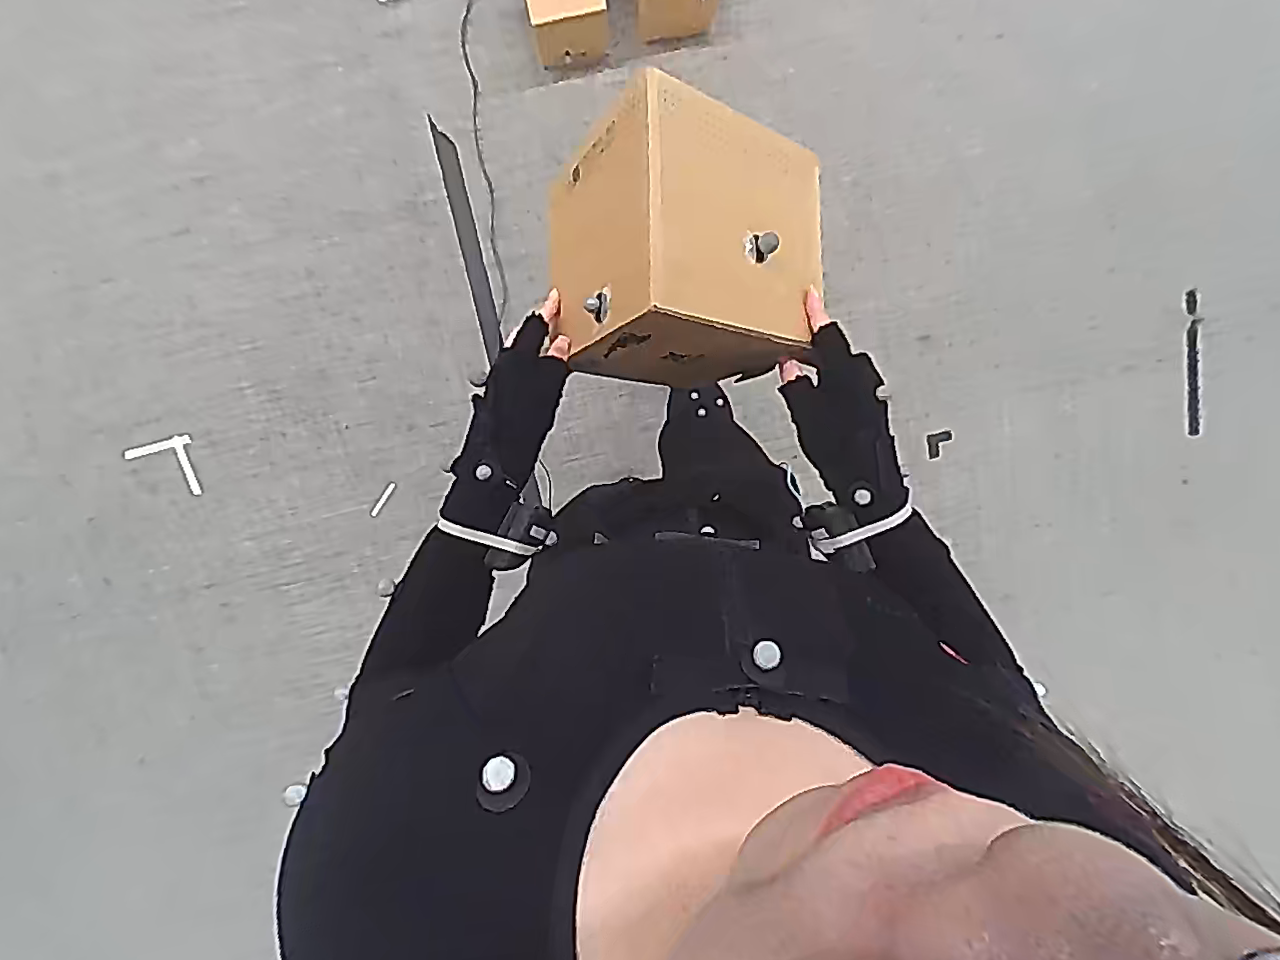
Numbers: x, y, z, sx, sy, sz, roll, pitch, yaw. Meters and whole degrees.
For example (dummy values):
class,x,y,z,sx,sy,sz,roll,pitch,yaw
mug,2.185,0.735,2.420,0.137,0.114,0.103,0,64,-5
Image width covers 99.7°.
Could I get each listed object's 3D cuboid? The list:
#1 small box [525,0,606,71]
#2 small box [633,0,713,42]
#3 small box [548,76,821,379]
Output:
class,x,y,z,sx,sy,sz,roll,pitch,yaw
small box,-0.173,-1.073,1.213,0.168,0.176,0.179,-12,100,1
small box,0.070,-1.133,1.216,0.179,0.176,0.168,-11,99,-2
small box,0.033,-0.193,0.466,0.179,0.168,0.176,0,86,-33
